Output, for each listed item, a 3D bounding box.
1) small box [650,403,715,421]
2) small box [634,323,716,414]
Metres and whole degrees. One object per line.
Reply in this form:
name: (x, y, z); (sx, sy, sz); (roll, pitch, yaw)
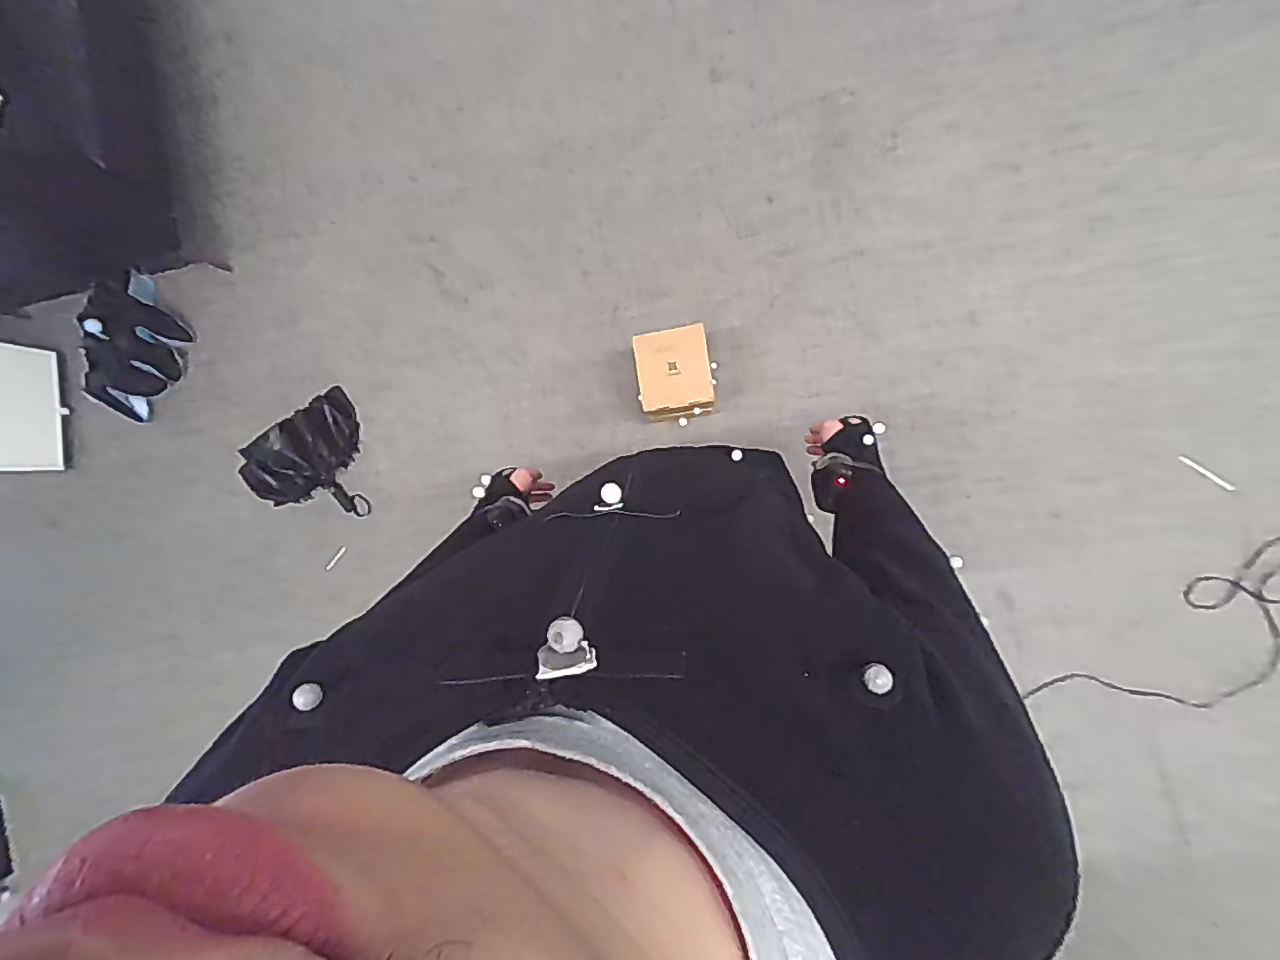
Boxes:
small box: (0.111, -0.259, 1.452); (0.168, 0.176, 0.179); (-6, 91, 10)
small box: (0.088, -0.257, 1.291); (0.168, 0.176, 0.179); (-8, 90, 9)
